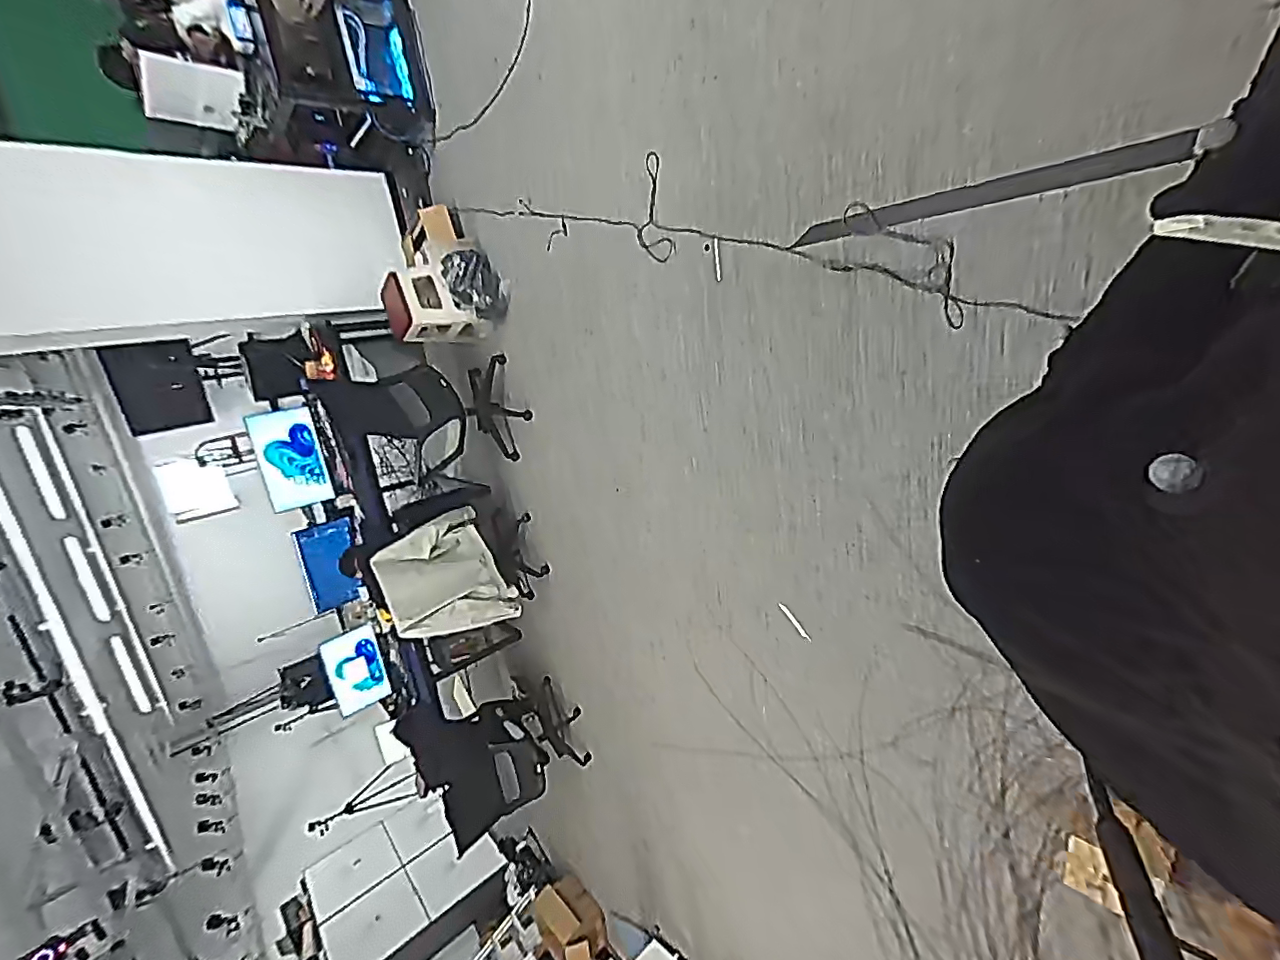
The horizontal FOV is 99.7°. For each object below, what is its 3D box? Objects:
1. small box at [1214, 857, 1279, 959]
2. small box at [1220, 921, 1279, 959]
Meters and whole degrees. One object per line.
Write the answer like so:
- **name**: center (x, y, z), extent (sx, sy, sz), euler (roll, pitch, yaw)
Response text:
- **small box**: center (1.346, 0.957, 1.132), extent (0.168, 0.176, 0.179), euler (13, 116, 47)
- **small box**: center (1.228, 1.012, 1.032), extent (0.168, 0.176, 0.179), euler (9, 114, 49)
